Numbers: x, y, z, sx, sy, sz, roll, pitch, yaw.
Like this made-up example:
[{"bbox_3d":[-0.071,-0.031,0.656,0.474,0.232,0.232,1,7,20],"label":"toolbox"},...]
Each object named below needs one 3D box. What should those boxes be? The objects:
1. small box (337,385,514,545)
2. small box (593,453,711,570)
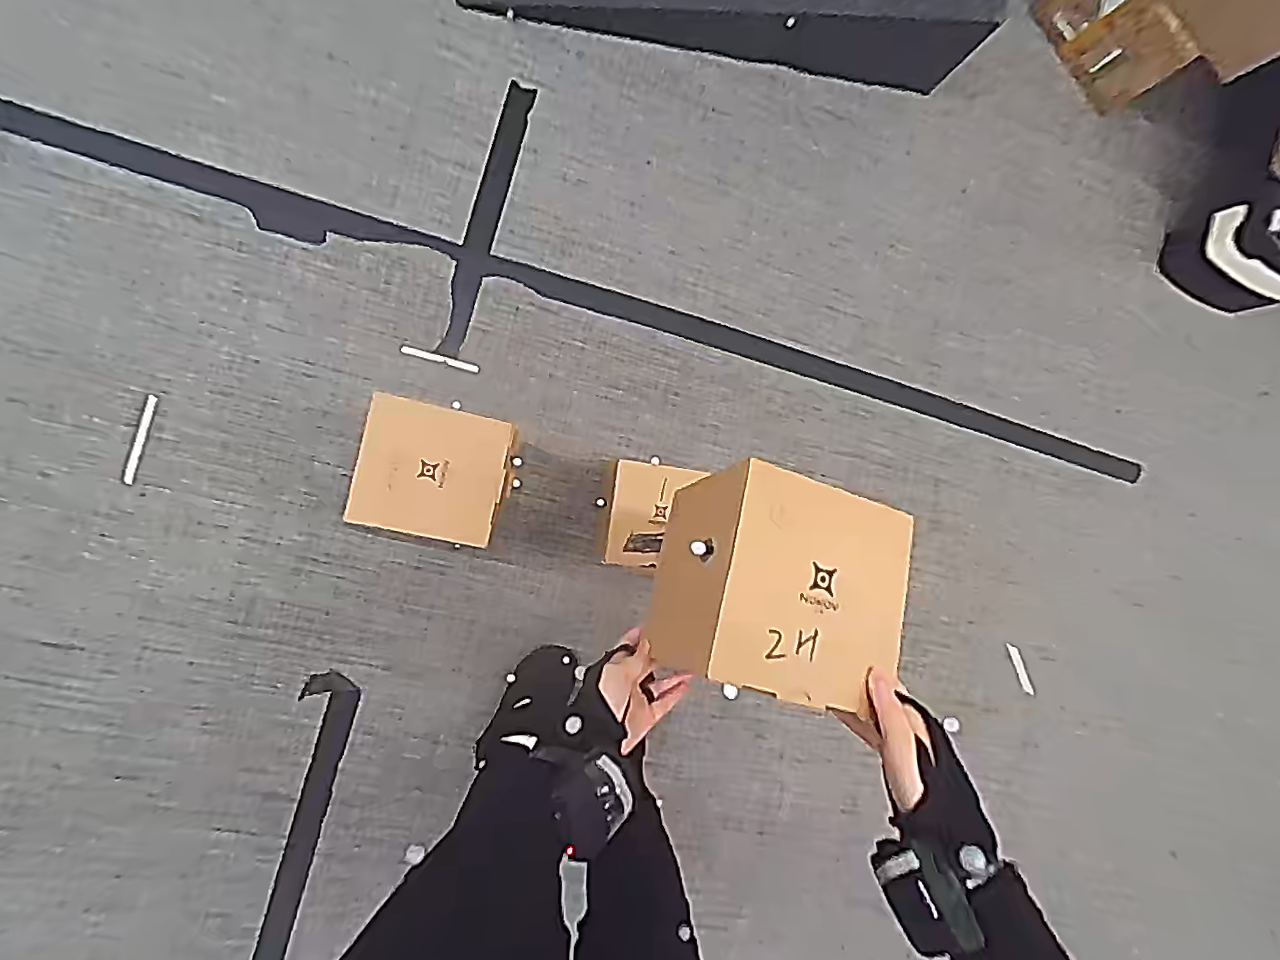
[{"bbox_3d":[-0.275,-0.019,0.736,0.179,0.176,0.168,13,89,-11],"label":"small box"},{"bbox_3d":[0.013,0.052,0.966,0.168,0.176,0.179,8,89,-12],"label":"small box"}]
